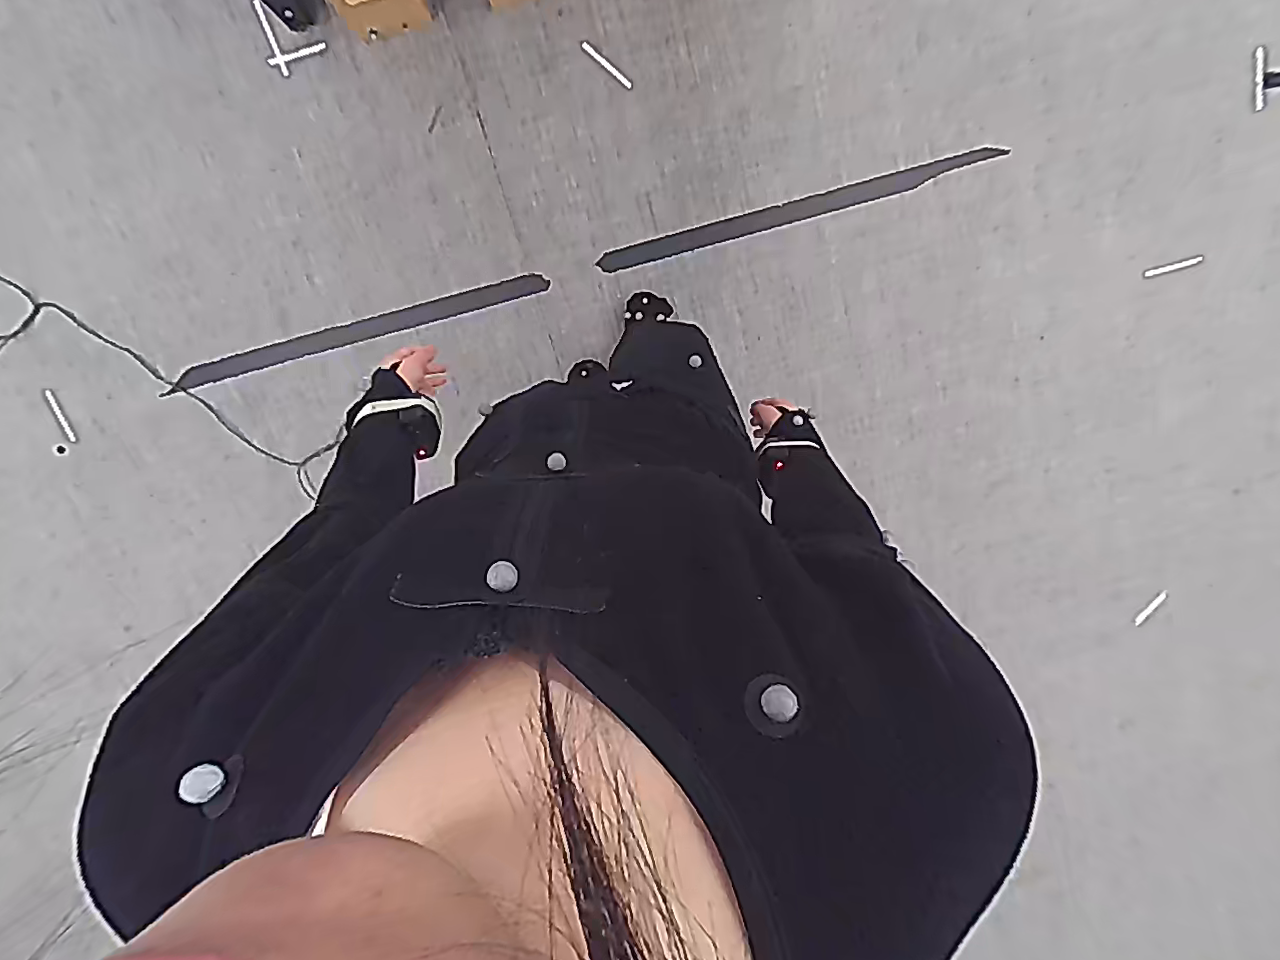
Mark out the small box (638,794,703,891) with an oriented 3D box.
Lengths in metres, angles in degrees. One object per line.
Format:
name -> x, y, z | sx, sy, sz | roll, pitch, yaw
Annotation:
small box -> 0.094, 1.151, 1.726 | 0.168, 0.176, 0.179 | -17, 105, 2

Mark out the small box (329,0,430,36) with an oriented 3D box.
small box -> -0.562, -1.067, 1.120 | 0.168, 0.176, 0.179 | -15, 103, 1
